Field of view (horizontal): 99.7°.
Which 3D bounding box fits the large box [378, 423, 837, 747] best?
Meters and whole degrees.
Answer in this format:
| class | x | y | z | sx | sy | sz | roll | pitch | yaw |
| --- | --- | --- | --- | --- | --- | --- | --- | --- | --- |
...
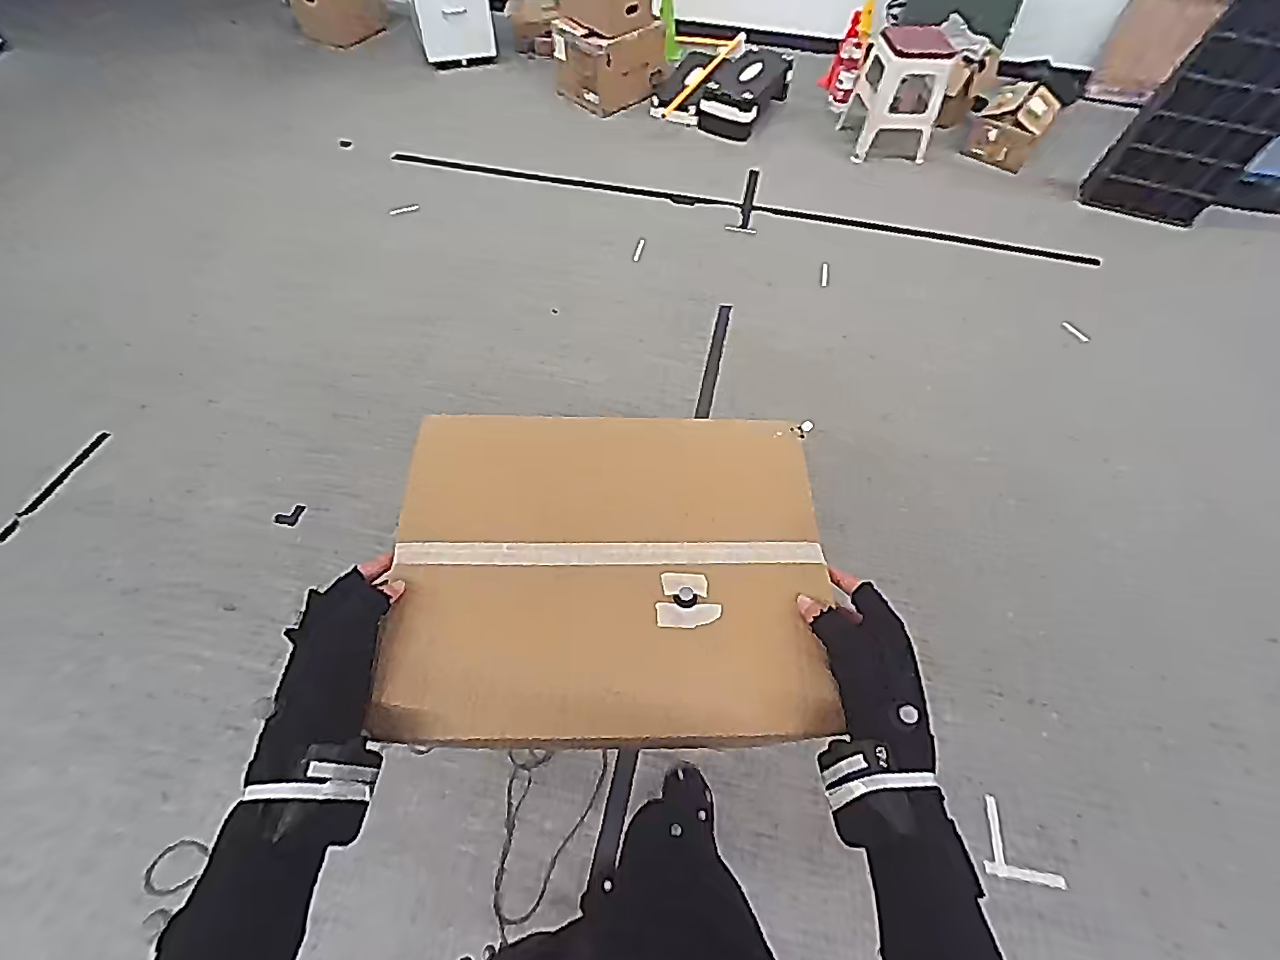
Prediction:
| class | x | y | z | sx | sy | sz | roll | pitch | yaw |
| --- | --- | --- | --- | --- | --- | --- | --- | --- | --- |
| large box | -0.036 | 0.143 | 0.663 | 0.408 | 0.320 | 0.320 | 1 | 62 | -3 |
